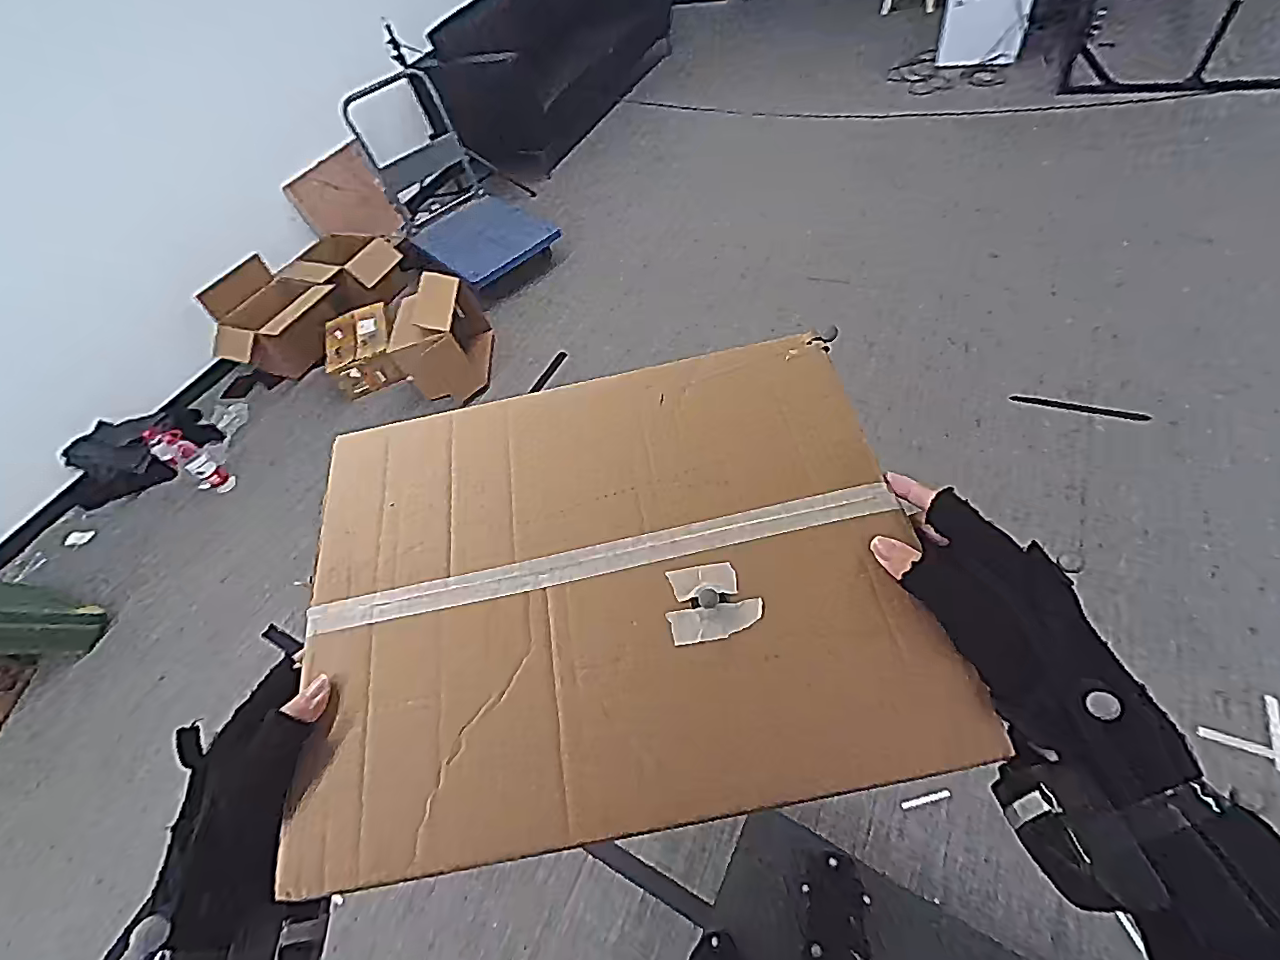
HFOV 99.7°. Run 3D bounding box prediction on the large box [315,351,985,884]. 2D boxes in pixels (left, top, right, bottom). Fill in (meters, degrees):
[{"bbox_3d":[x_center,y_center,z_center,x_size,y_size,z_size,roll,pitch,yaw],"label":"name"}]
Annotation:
[{"bbox_3d":[-0.004,0.135,0.511,0.408,0.320,0.320,-12,60,1],"label":"large box"}]
